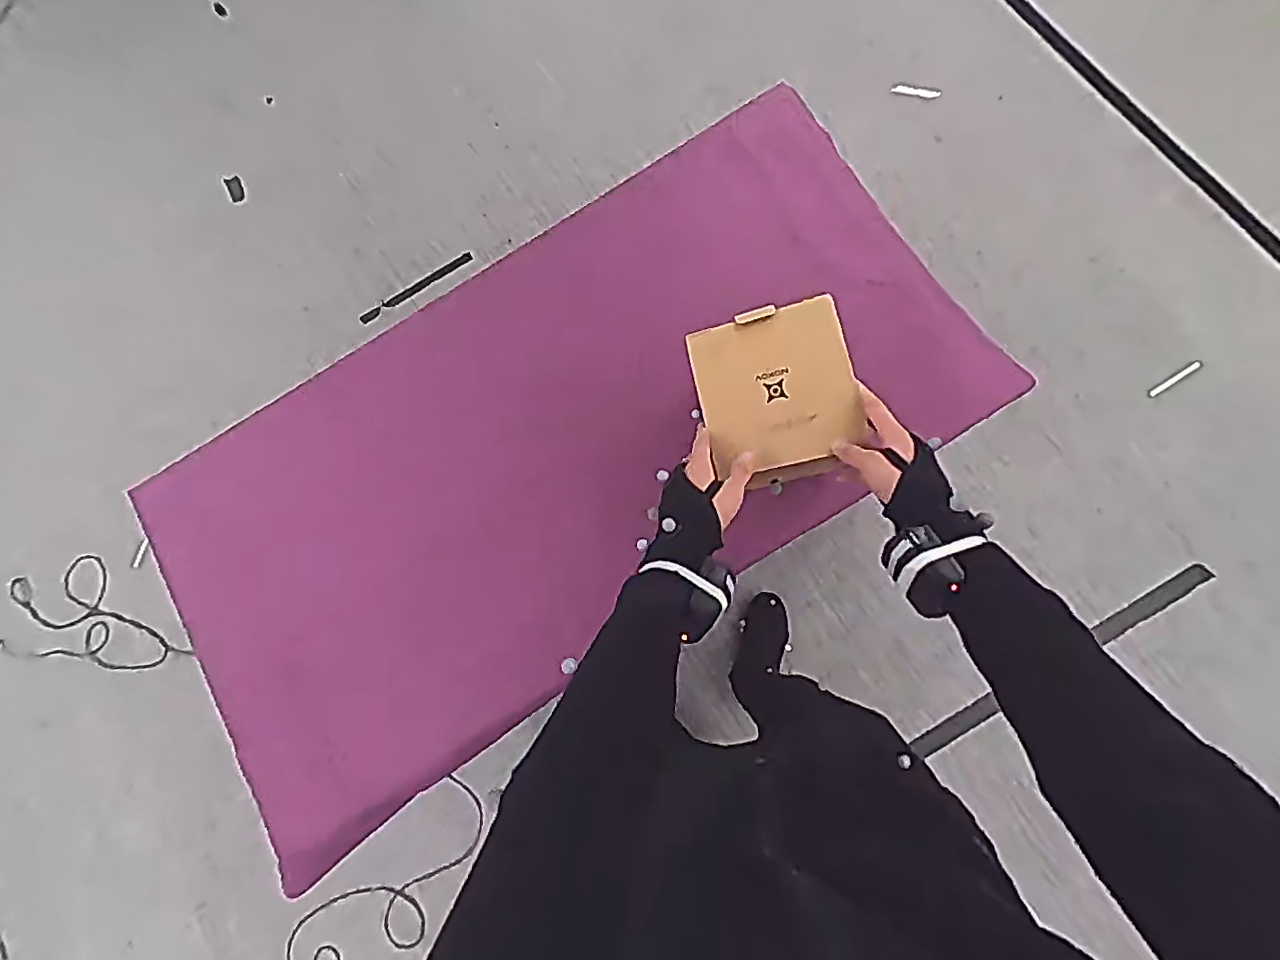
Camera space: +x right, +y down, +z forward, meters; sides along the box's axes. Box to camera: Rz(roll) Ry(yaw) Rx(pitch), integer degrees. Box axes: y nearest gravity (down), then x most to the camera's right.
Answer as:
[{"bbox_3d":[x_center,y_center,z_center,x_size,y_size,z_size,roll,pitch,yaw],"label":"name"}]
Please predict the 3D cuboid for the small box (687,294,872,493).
[{"bbox_3d":[0.161,-0.091,0.658,0.168,0.176,0.179,-13,81,11],"label":"small box"}]
